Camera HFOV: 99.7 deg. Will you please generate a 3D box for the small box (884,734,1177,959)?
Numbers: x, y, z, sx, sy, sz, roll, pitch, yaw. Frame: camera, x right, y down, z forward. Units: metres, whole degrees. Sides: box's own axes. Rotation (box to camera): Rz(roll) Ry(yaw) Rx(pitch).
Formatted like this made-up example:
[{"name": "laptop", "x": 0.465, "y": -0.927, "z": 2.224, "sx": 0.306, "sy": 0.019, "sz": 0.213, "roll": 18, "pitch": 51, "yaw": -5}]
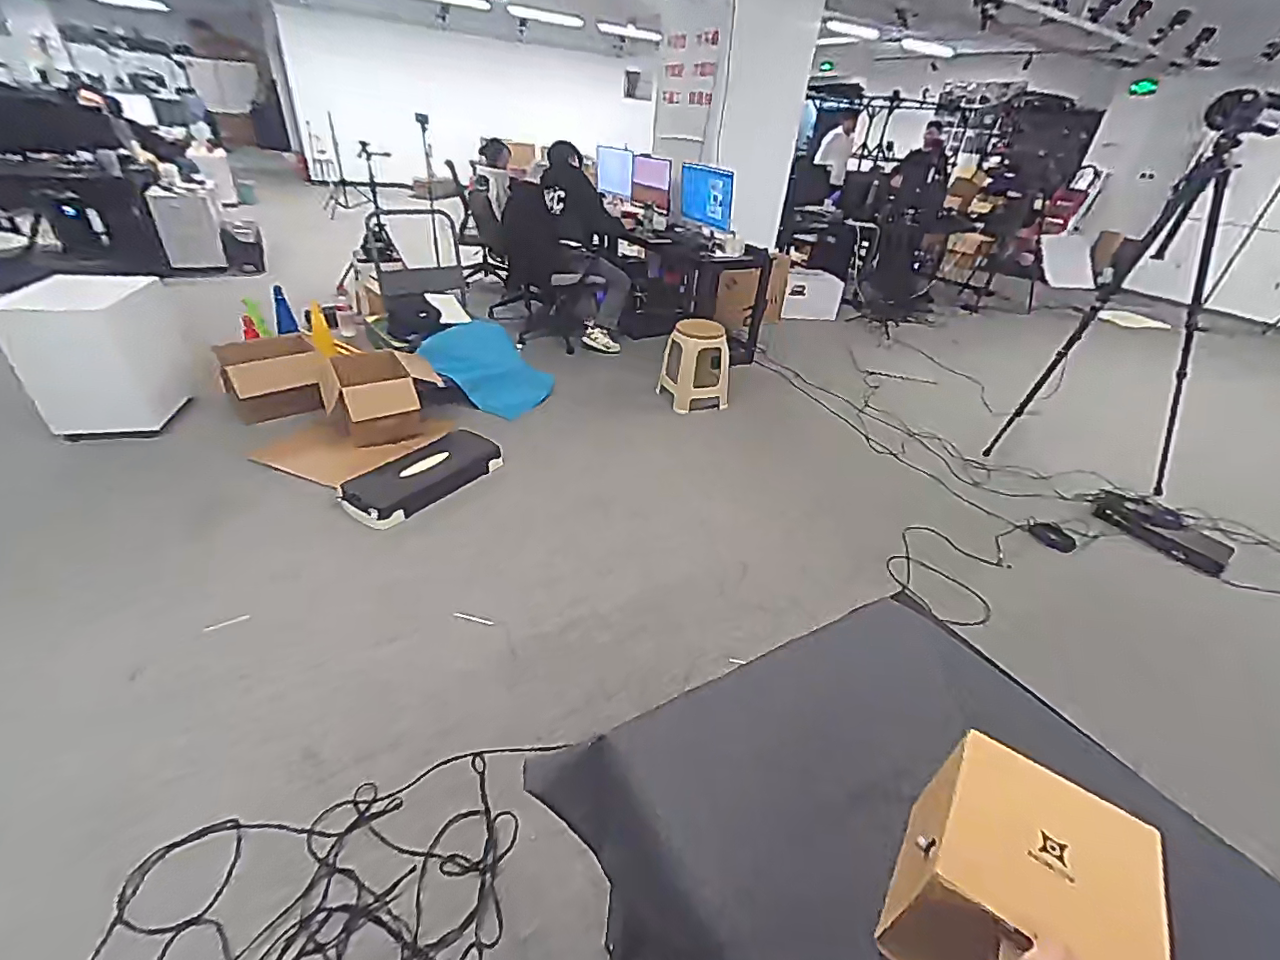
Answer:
[{"name": "small box", "x": 0.358, "y": 0.398, "z": 0.517, "sx": 0.168, "sy": 0.176, "sz": 0.179, "roll": 26, "pitch": 39, "yaw": 27}]
